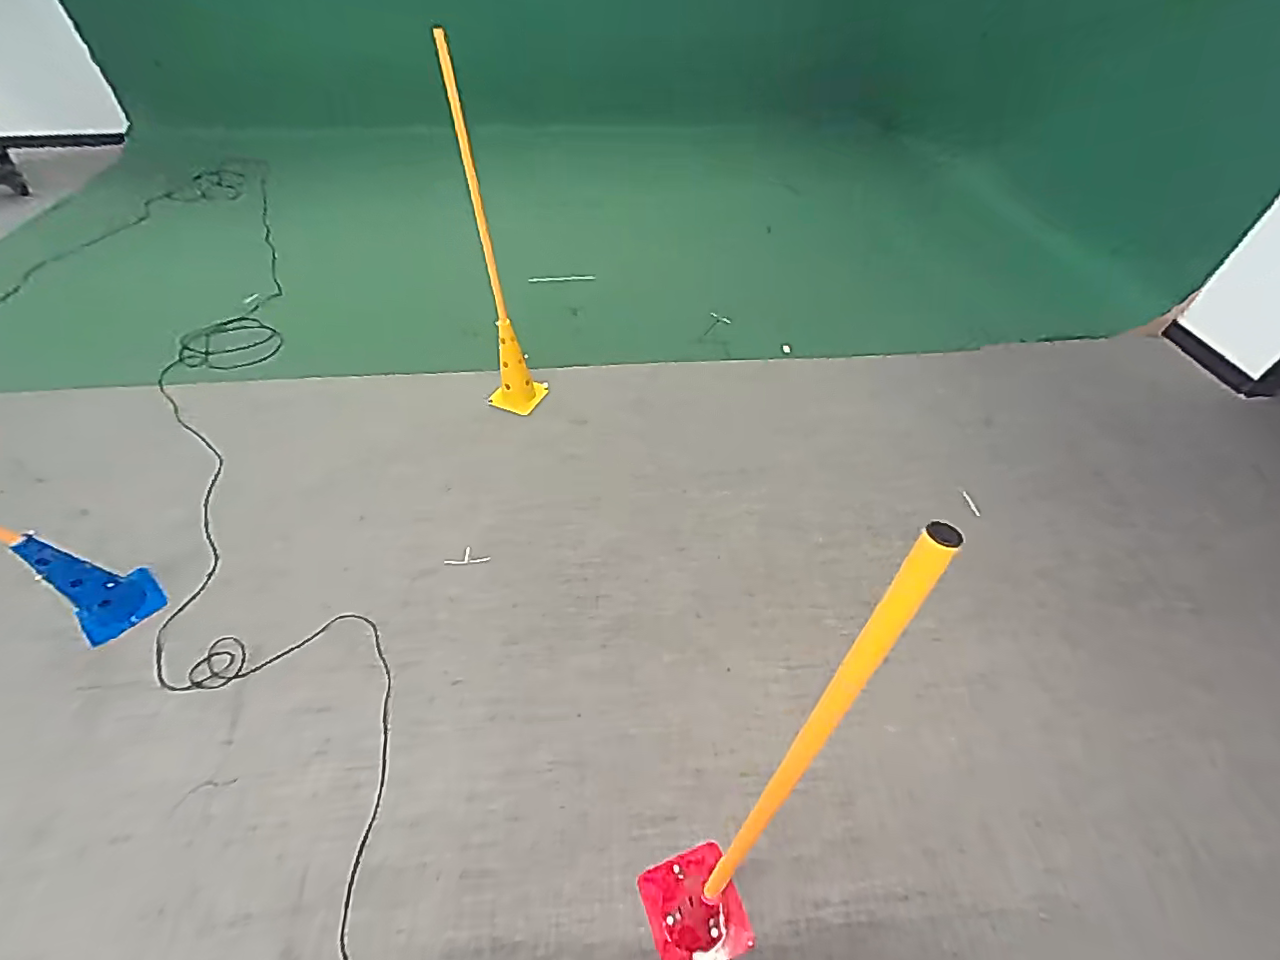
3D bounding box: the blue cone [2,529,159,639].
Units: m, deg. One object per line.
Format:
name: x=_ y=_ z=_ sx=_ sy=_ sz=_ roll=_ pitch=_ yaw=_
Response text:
blue cone: x=-1.557 y=0.258 z=1.482 sx=0.192 sy=0.380 sz=0.193 roll=33 pitch=58 yaw=24
